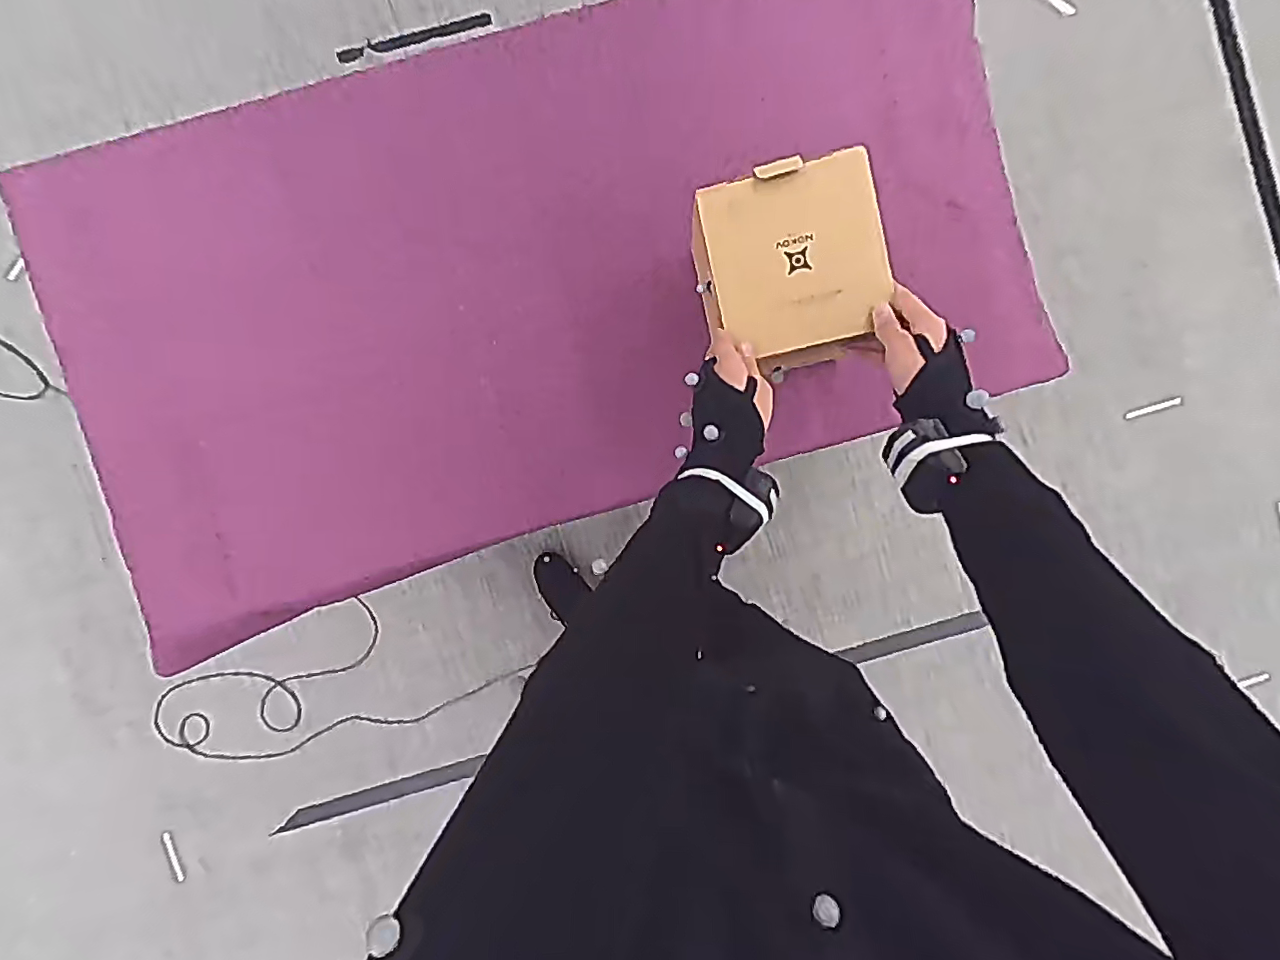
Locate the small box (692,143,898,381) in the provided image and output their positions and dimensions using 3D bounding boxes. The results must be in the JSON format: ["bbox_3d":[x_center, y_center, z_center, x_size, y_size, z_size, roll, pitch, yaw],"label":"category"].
[{"bbox_3d":[0.153,-0.219,0.591,0.168,0.176,0.179,-12,93,6],"label":"small box"}]
